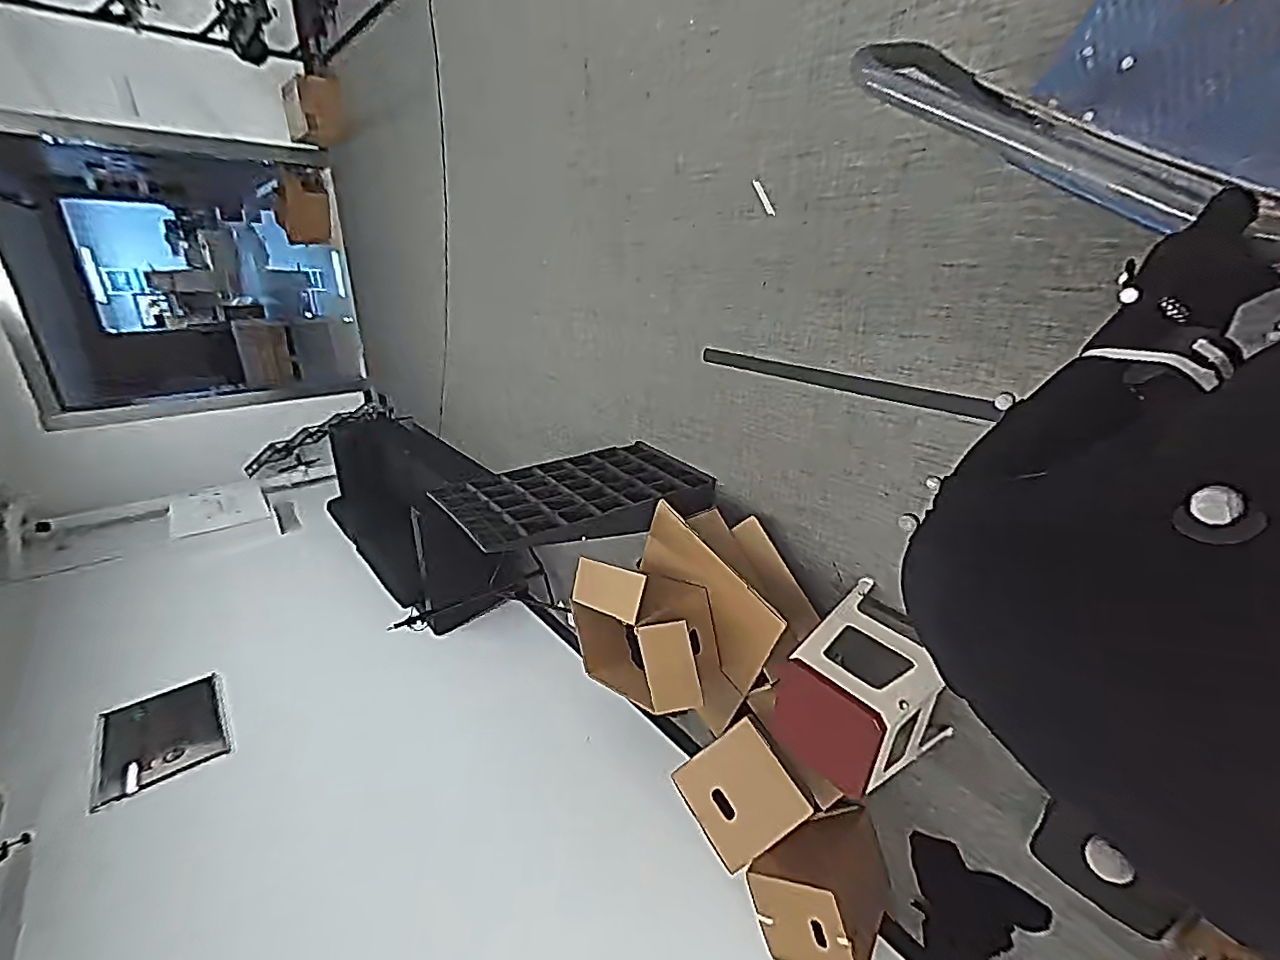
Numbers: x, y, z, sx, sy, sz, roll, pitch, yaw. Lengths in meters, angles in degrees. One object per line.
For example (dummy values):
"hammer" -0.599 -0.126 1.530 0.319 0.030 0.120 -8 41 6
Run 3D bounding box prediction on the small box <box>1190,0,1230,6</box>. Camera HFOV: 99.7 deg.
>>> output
"small box" 0.807 -0.811 0.757 0.179 0.176 0.168 53 139 24
